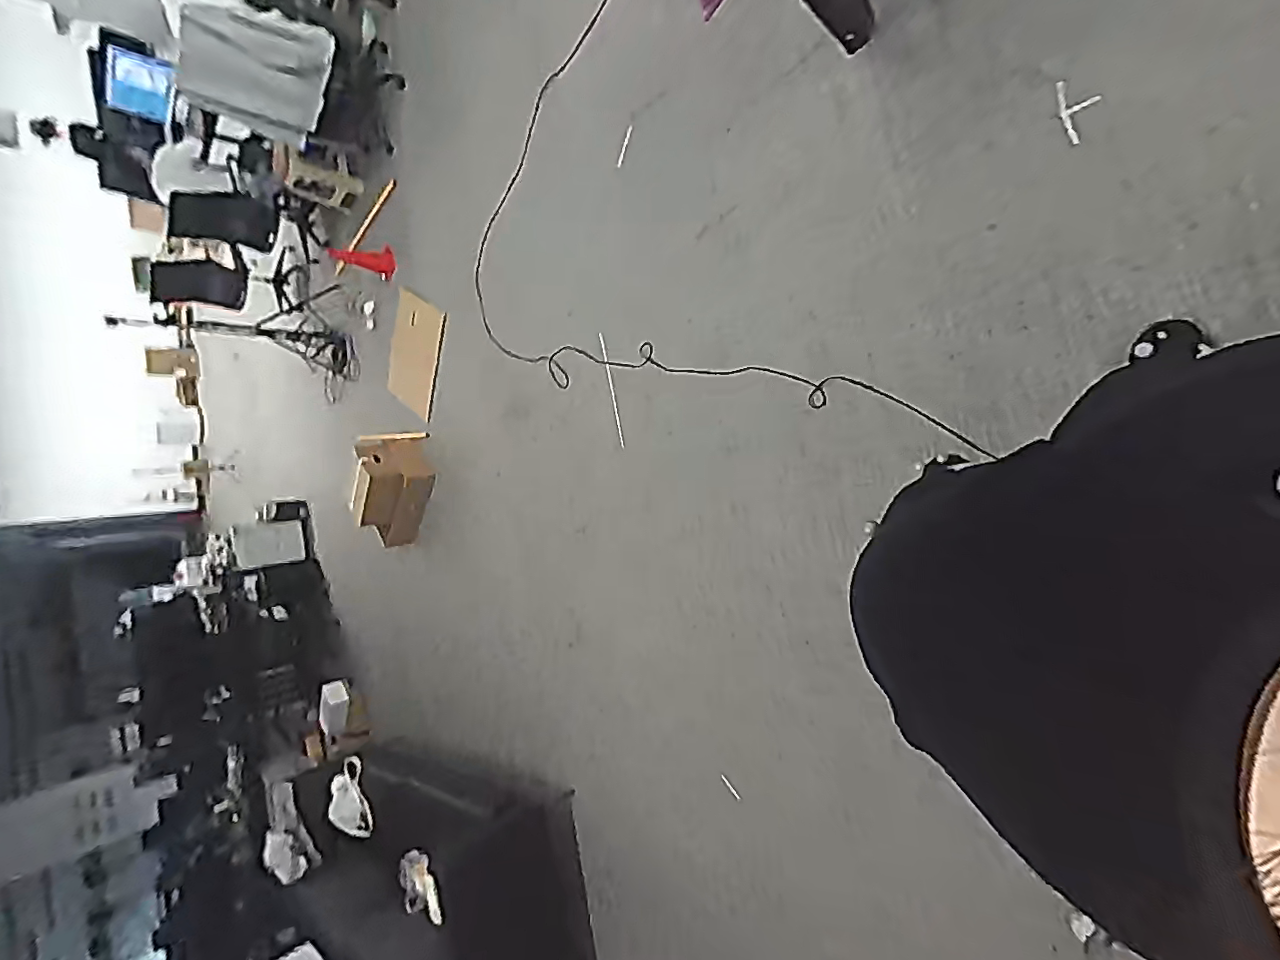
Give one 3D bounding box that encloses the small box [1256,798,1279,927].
[{"bbox_3d":[0.970,0.559,0.721,0.179,0.176,0.168,-14,86,44],"label":"small box"}]
